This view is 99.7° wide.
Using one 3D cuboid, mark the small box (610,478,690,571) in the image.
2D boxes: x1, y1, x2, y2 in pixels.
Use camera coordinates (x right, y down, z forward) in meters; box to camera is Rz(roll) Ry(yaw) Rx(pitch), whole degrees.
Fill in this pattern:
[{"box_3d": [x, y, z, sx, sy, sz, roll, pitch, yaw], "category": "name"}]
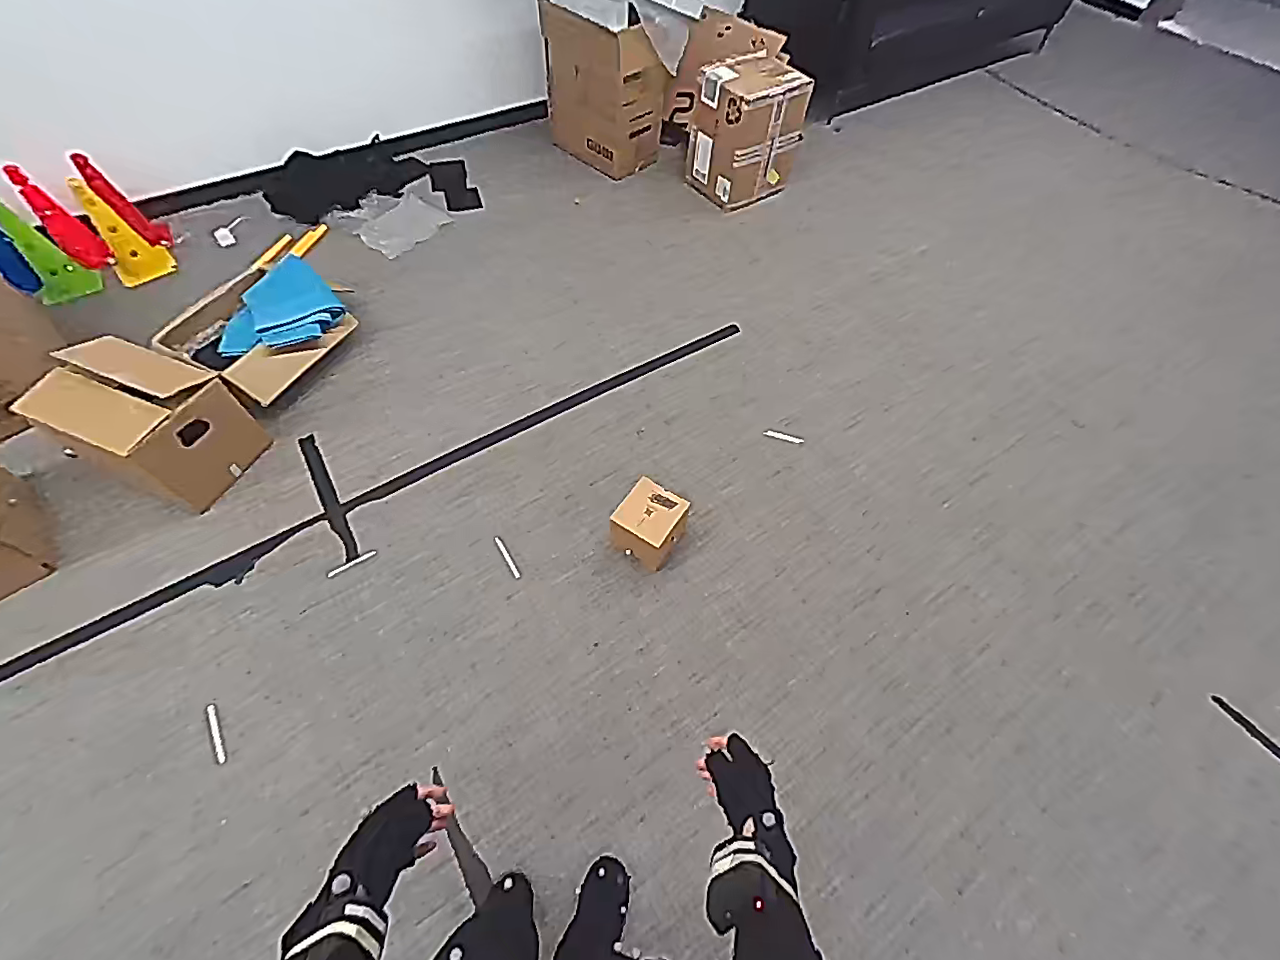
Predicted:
[{"box_3d": [0.025, 0.132, 1.586, 0.168, 0.176, 0.179, 30, 62, 16], "category": "small box"}]
